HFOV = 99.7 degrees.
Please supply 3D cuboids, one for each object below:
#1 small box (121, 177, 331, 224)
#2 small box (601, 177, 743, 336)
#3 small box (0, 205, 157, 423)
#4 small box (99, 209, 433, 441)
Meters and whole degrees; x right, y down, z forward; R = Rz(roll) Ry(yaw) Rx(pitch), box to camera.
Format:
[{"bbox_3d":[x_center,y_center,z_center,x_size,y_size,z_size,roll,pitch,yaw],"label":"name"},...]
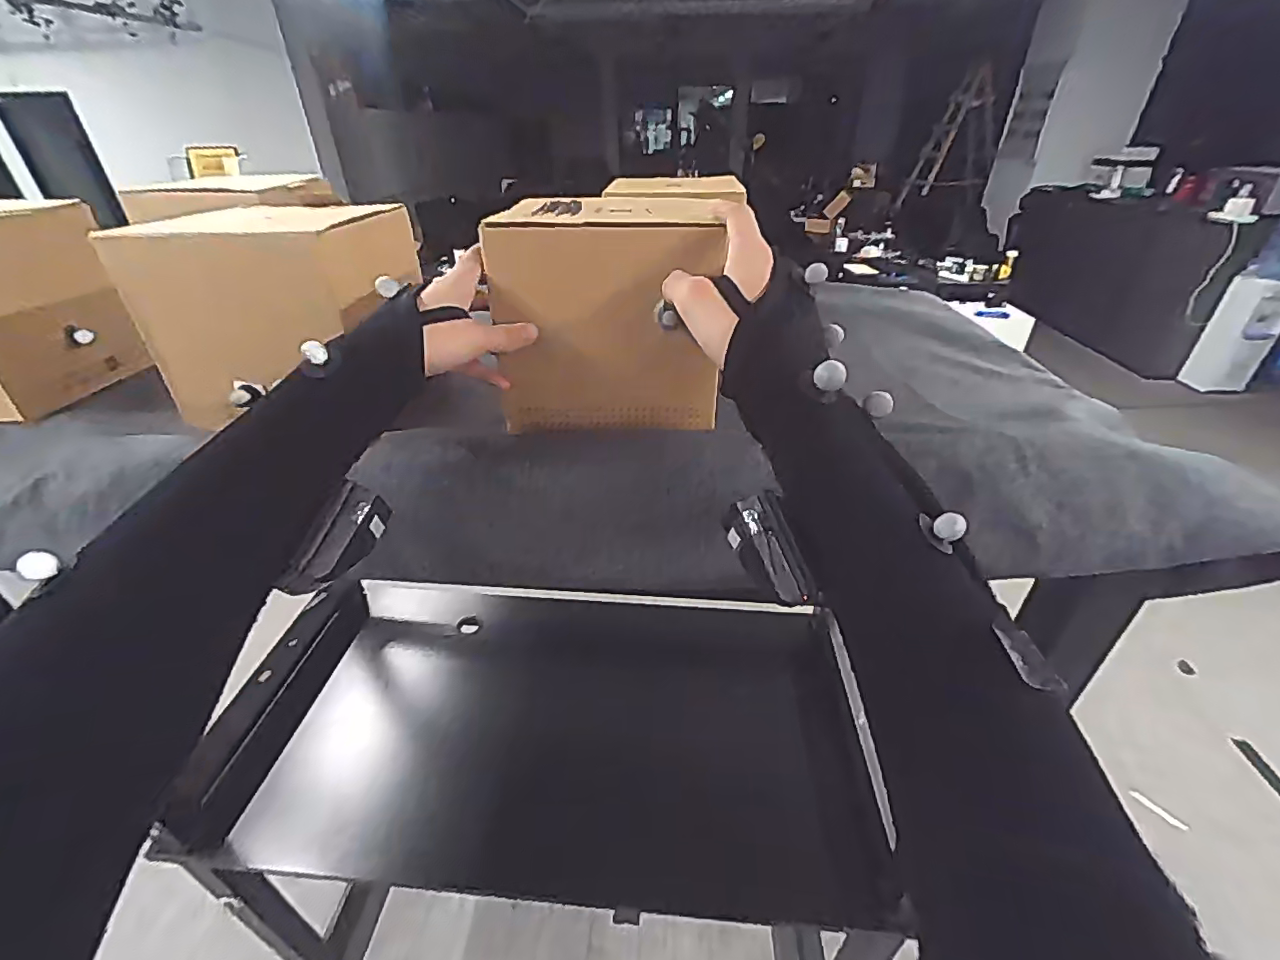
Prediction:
[{"bbox_3d":[-0.532,-0.314,0.752,0.179,0.176,0.168,2,34,2],"label":"small box"},{"bbox_3d":[0.045,-0.299,0.724,0.168,0.176,0.179,1,34,3],"label":"small box"},{"bbox_3d":[-0.638,-0.161,0.516,0.179,0.176,0.168,1,32,0],"label":"small box"},{"bbox_3d":[-0.307,-0.148,0.498,0.168,0.176,0.179,-1,32,1],"label":"small box"}]
